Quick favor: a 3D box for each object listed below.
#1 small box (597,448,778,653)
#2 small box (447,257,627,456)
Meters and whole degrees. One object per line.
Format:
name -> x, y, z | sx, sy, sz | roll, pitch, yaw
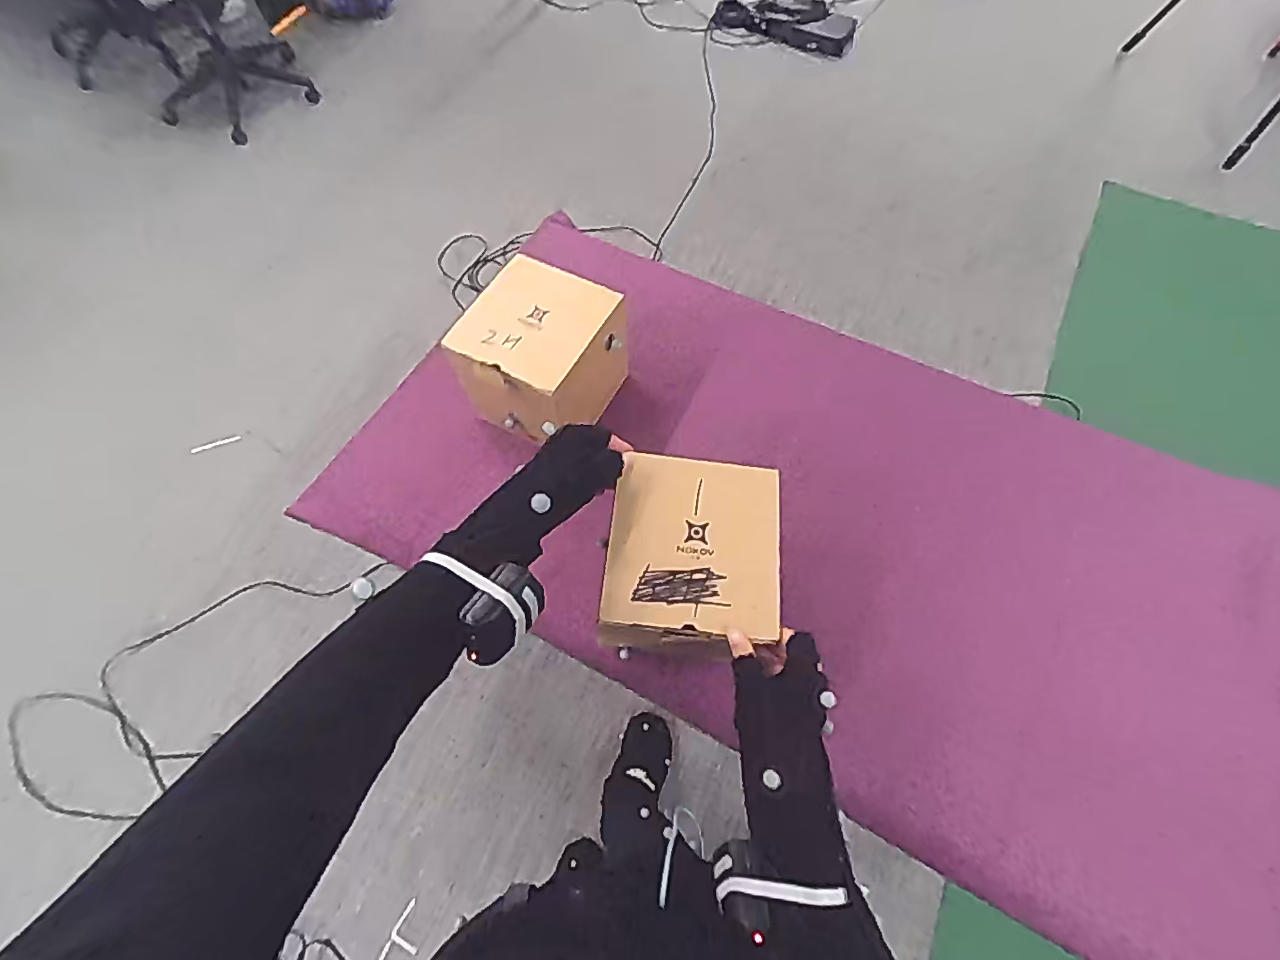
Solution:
small box -> 0.048, 0.087, 0.596 | 0.168, 0.176, 0.179 | 7, 65, 0
small box -> -0.128, -0.165, 0.752 | 0.168, 0.176, 0.179 | 25, 68, 13
